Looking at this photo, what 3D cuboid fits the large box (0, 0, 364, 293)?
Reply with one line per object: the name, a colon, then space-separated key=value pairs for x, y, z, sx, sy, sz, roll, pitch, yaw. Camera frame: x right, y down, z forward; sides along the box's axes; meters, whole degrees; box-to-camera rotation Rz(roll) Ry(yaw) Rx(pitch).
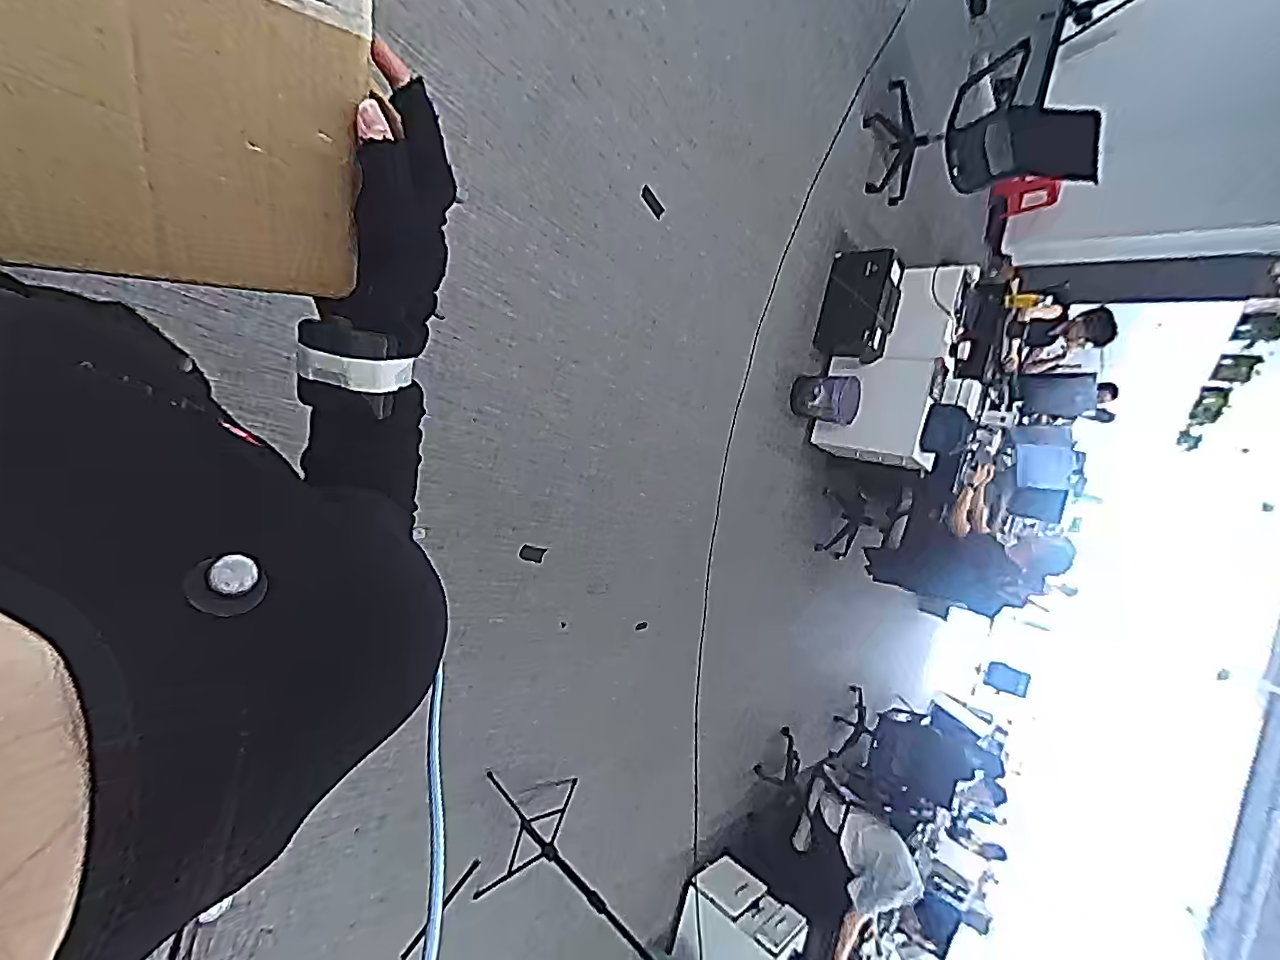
large box: x=-0.392 y=-0.311 z=0.256 sx=0.408 sy=0.320 sz=0.320 roll=-9 pitch=131 yaw=-42
